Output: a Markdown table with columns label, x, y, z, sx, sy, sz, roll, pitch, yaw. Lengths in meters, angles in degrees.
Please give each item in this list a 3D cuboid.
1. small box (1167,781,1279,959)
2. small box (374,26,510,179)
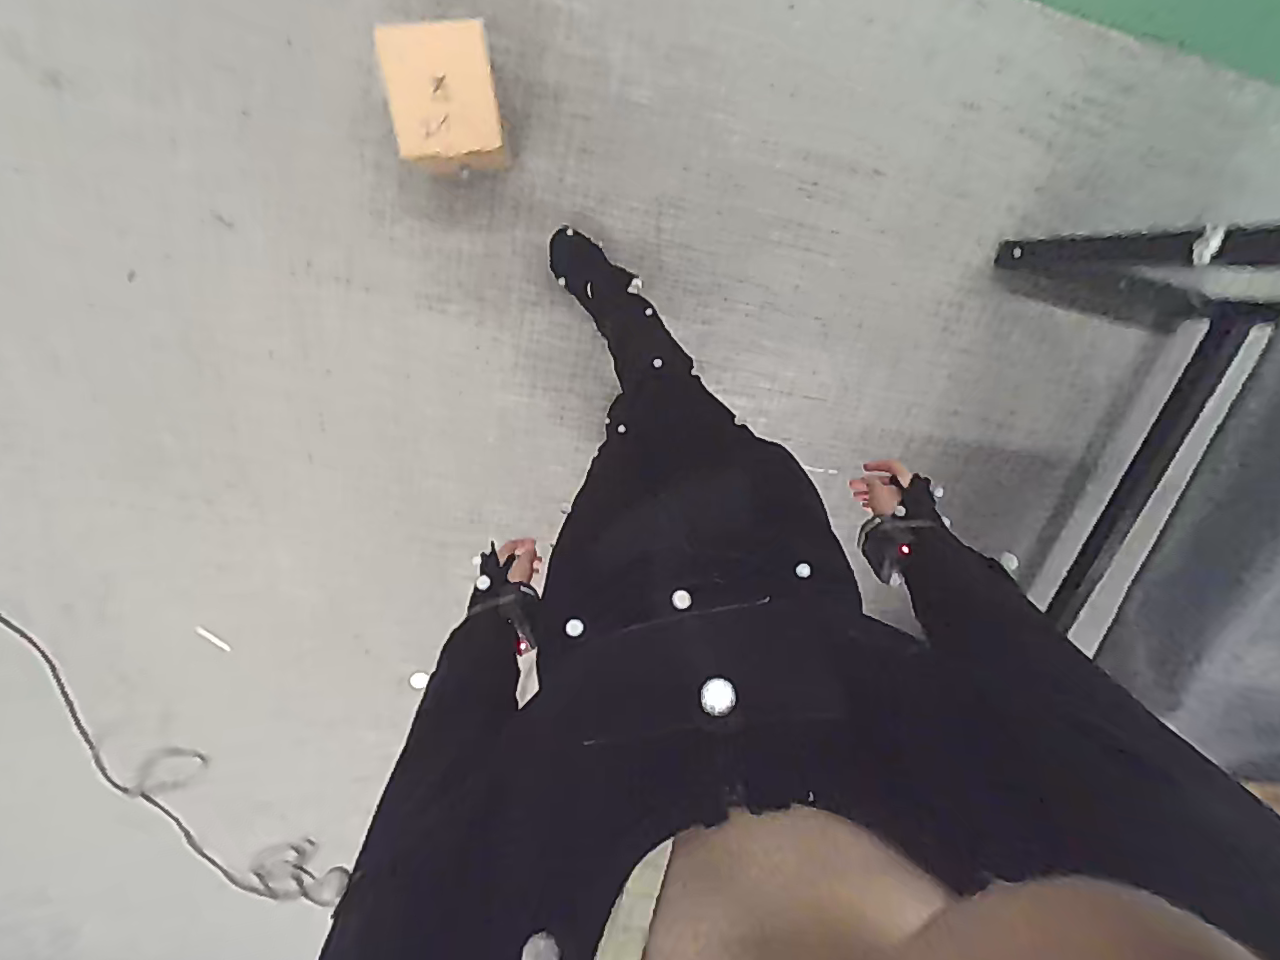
| label | x | y | z | sx | sy | sz | roll | pitch | yaw |
| --- | --- | --- | --- | --- | --- | --- | --- | --- | --- |
| small box | 0.916 | 0.553 | 0.755 | 0.179 | 0.176 | 0.168 | 10 | 109 | -10 |
| small box | -0.327 | -0.636 | 0.929 | 0.168 | 0.176 | 0.179 | -8 | 111 | -4 |
